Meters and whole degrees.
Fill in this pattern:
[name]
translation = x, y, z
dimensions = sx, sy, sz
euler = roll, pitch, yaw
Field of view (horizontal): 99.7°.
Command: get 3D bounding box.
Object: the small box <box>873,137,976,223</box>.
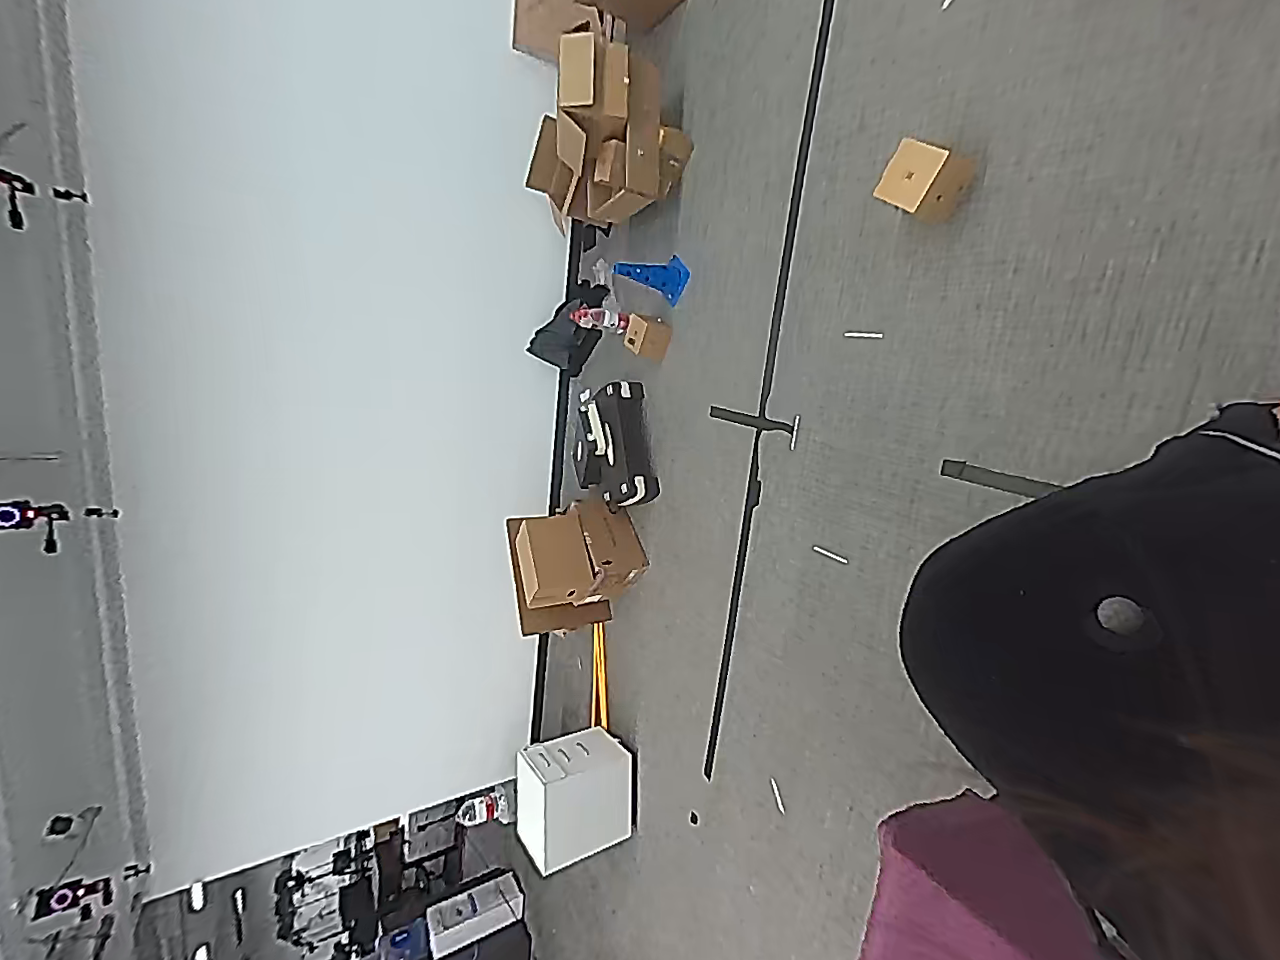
[small box]
translation = 0.849, -0.887, 1.609
dimensions = 0.179, 0.176, 0.168
euler = 57, 135, 40
